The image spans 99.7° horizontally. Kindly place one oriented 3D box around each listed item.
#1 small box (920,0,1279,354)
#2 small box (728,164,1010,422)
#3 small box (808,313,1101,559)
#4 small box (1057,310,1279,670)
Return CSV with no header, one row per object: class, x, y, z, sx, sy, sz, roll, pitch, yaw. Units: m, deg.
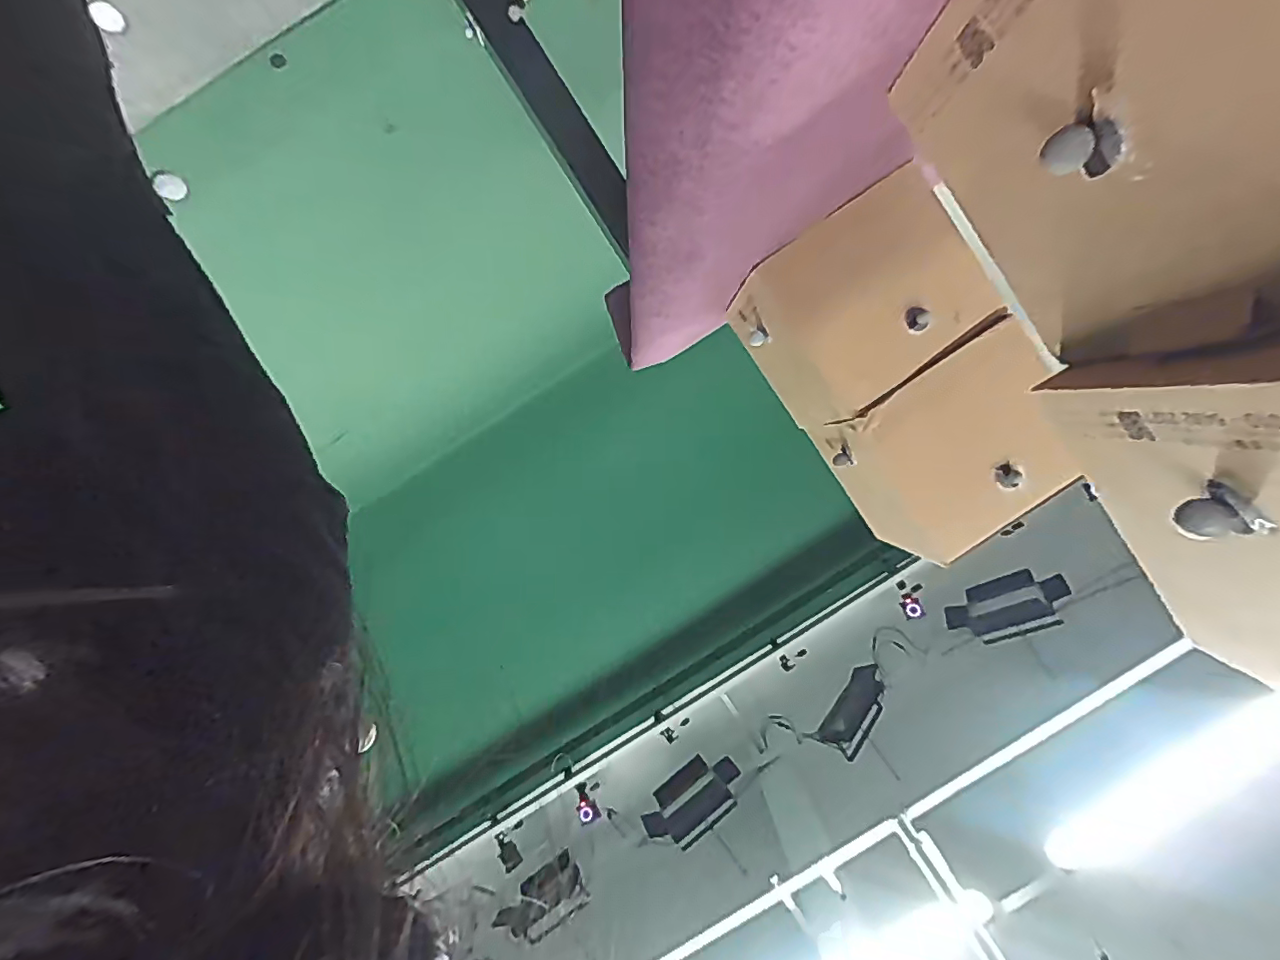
small box,0.240,-0.172,0.184,0.179,0.176,0.168,-33,-177,4
small box,0.220,-0.181,0.566,0.179,0.176,0.168,-34,-178,1
small box,0.312,-0.047,0.568,0.179,0.176,0.168,-34,-178,3
small box,0.312,-0.021,0.187,0.179,0.176,0.168,-33,-178,11
